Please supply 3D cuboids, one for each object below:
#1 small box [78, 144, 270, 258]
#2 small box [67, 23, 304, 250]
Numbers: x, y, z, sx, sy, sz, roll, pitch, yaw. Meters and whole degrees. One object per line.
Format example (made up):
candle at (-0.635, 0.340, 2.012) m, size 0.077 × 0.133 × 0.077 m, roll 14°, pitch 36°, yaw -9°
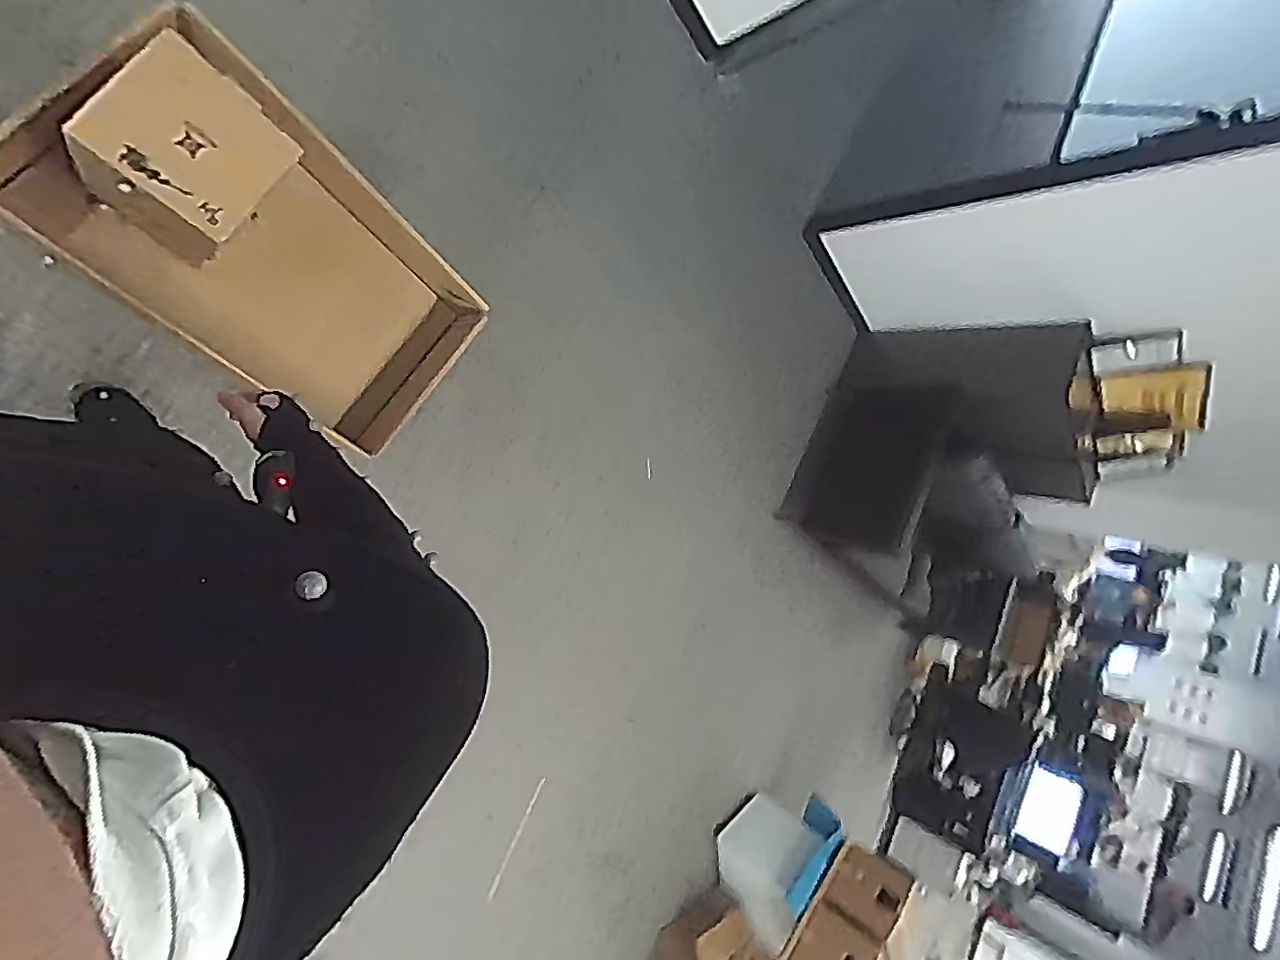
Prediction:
small box at (-0.701, -0.473, 0.840) m, size 0.168 × 0.176 × 0.179 m, roll 45°, pitch 70°, yaw -39°
small box at (-0.595, -0.439, 0.720) m, size 0.168 × 0.176 × 0.179 m, roll 42°, pitch 72°, yaw -39°
